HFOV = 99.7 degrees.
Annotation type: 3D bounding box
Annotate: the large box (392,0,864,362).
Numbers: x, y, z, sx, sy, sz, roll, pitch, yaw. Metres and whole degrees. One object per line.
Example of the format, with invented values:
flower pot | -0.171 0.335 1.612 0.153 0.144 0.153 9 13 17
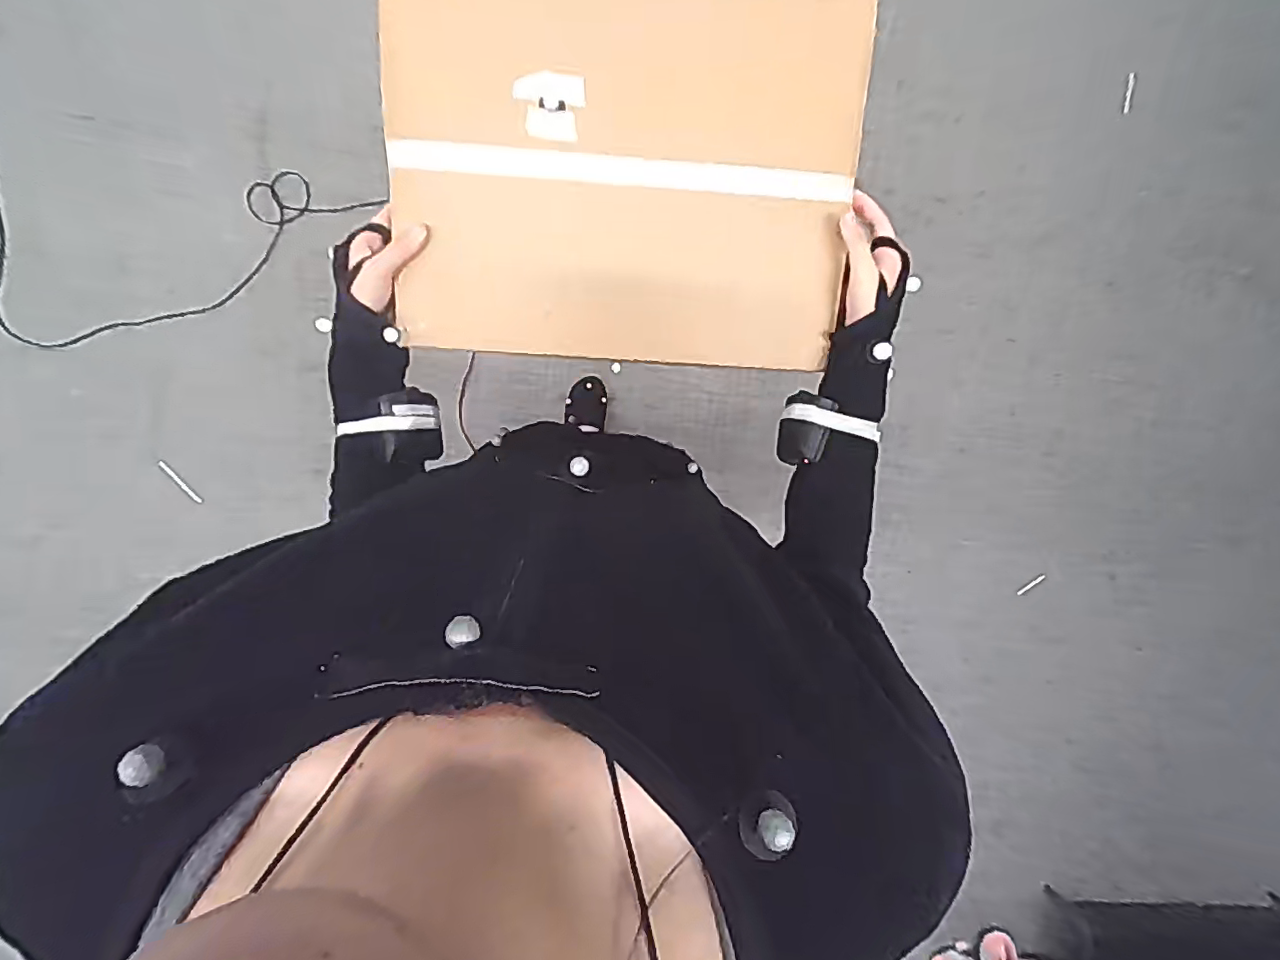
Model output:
large box | -0.018 -0.310 0.628 0.408 0.320 0.320 3 103 -4
